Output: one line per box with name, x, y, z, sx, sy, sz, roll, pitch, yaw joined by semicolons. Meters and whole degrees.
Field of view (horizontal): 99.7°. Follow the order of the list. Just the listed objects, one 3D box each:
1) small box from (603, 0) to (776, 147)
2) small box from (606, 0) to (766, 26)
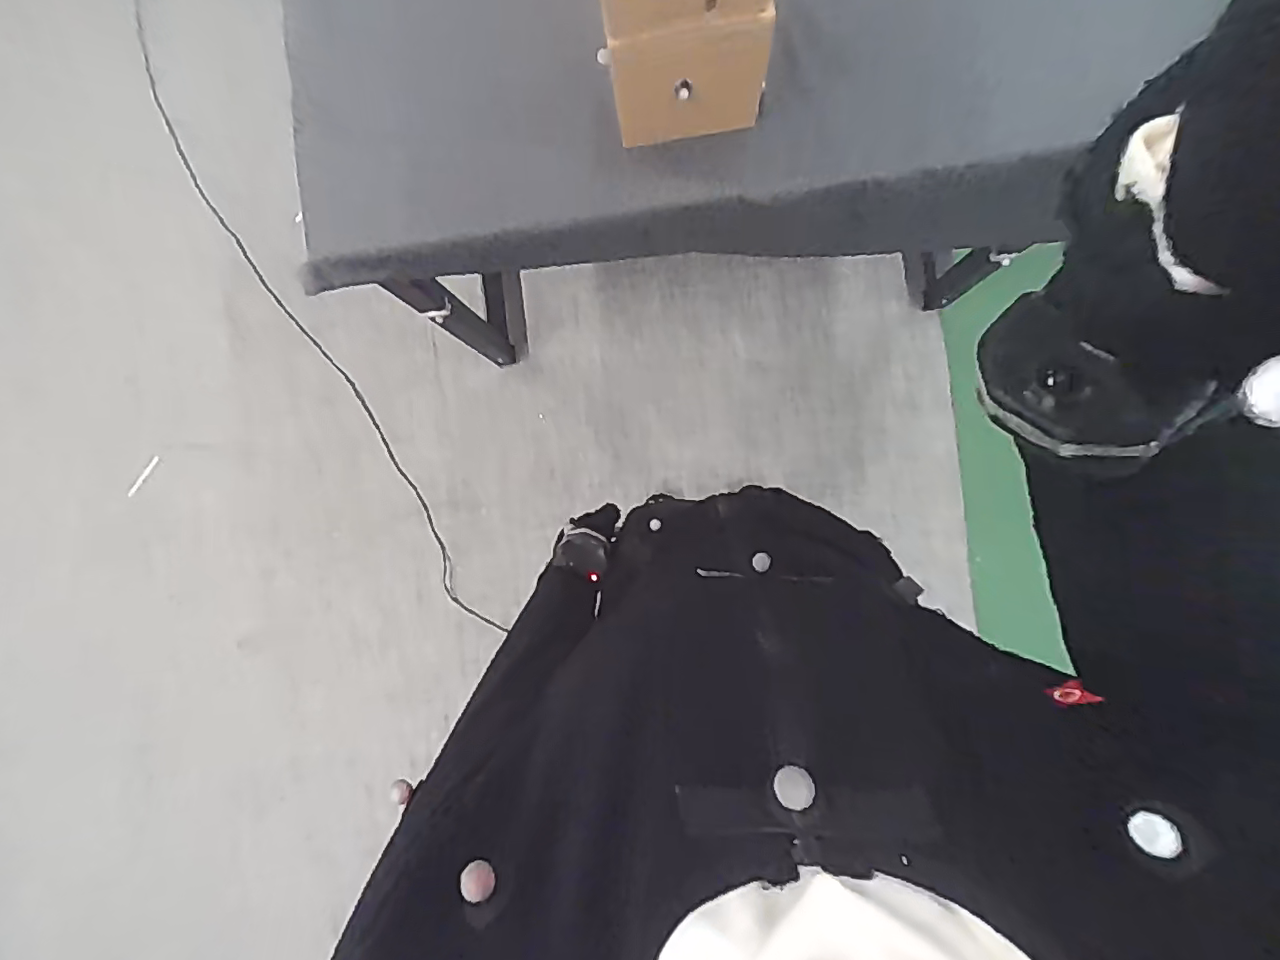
small box;0.051;-0.532;0.638;0.179;0.176;0.168;-7;88;5
small box;0.035;-0.550;0.476;0.168;0.176;0.179;-7;88;4
